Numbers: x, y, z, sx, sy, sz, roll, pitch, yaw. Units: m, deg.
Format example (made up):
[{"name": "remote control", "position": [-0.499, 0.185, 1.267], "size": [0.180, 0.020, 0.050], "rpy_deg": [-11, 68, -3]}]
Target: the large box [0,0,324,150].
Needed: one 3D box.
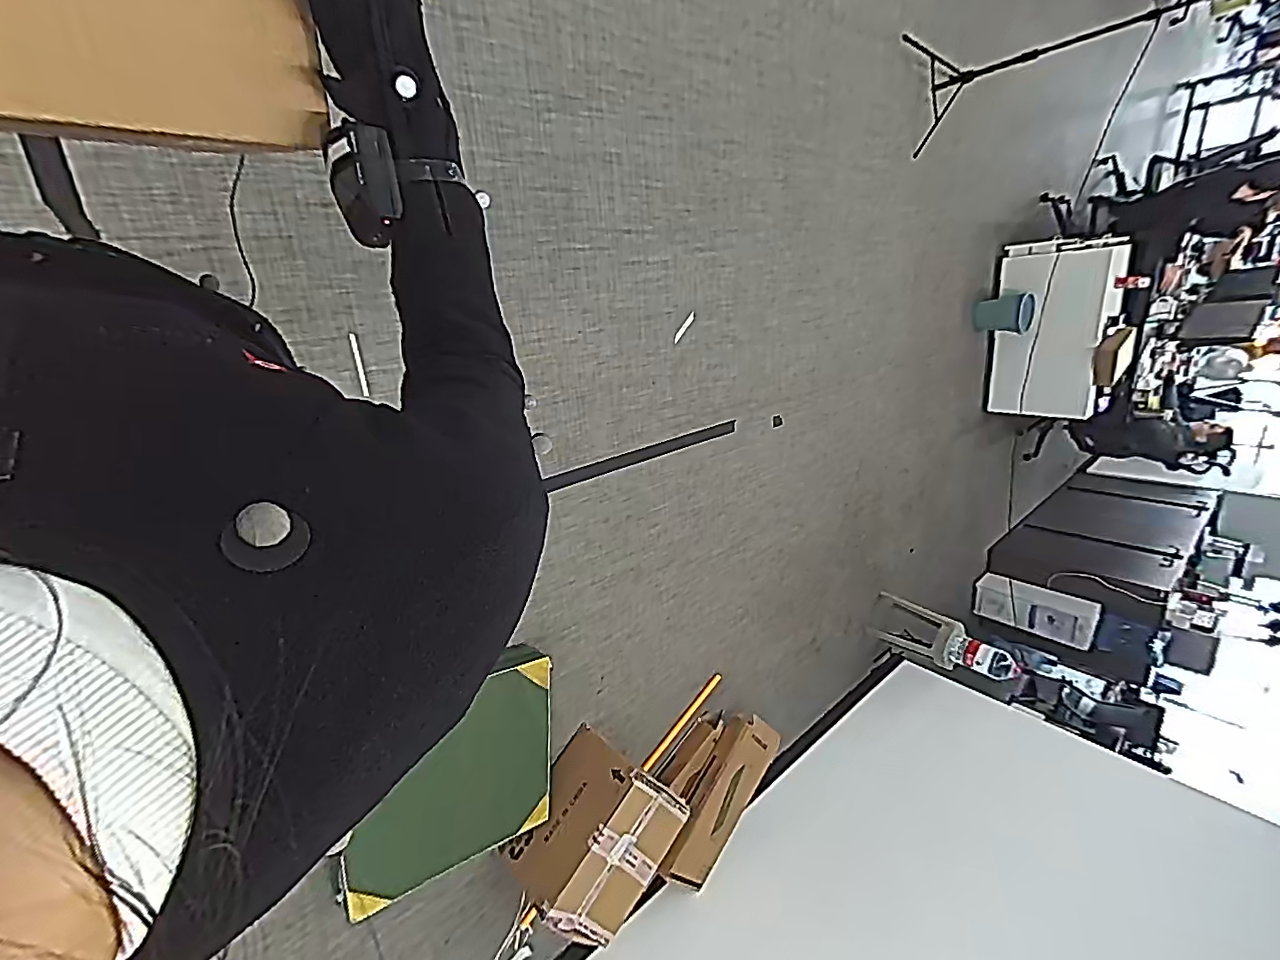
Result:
[{"name": "large box", "position": [-0.466, -0.384, 0.303], "size": [0.408, 0.320, 0.320], "rpy_deg": [-18, 126, -37]}]
